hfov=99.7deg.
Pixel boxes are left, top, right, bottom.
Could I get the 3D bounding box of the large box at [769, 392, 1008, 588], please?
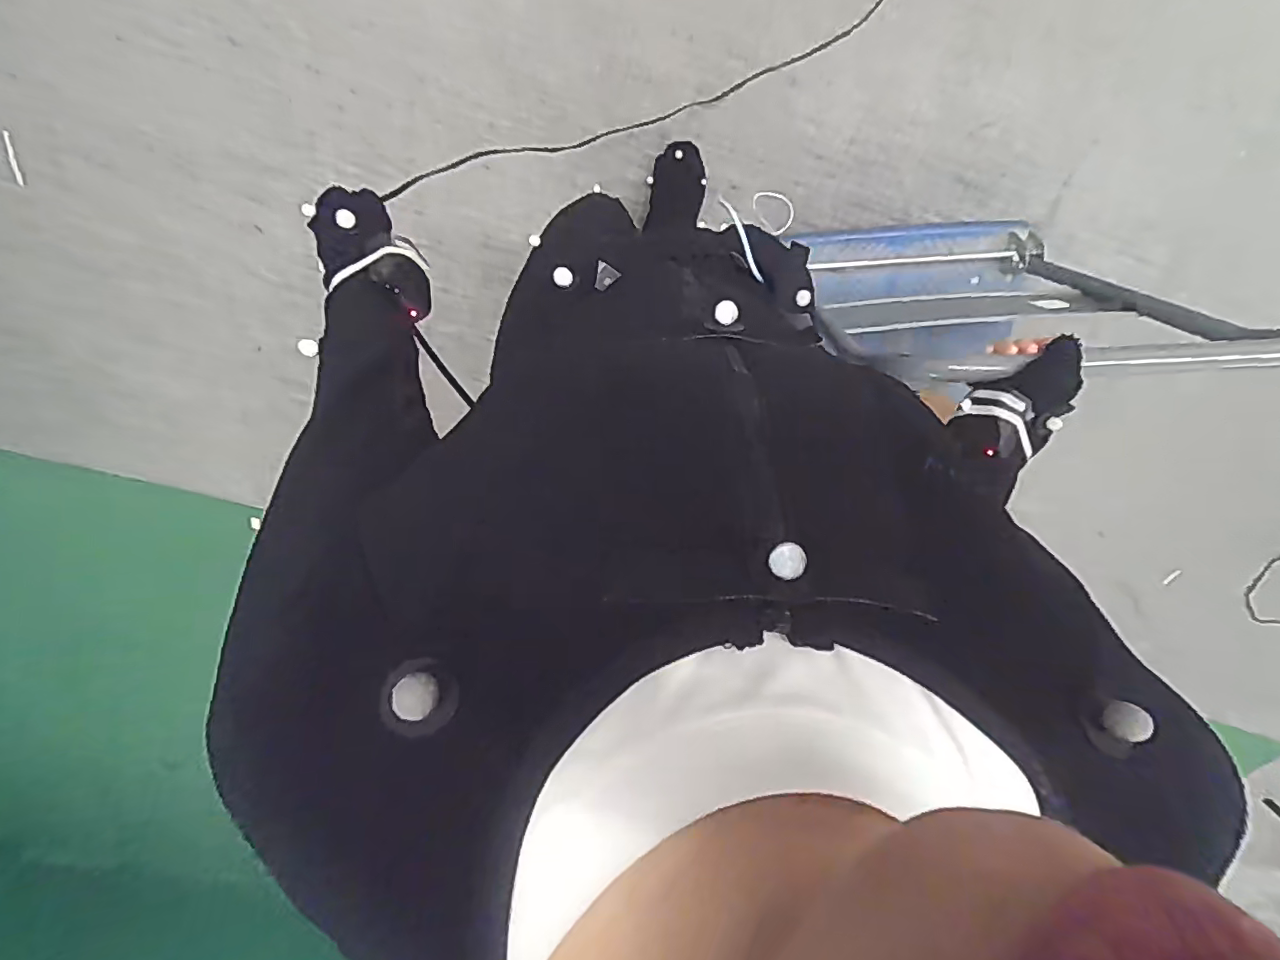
[{"bbox_3d":[0.534,0.014,1.258,0.408,0.320,0.320,-7,123,4],"label":"large box"}]
